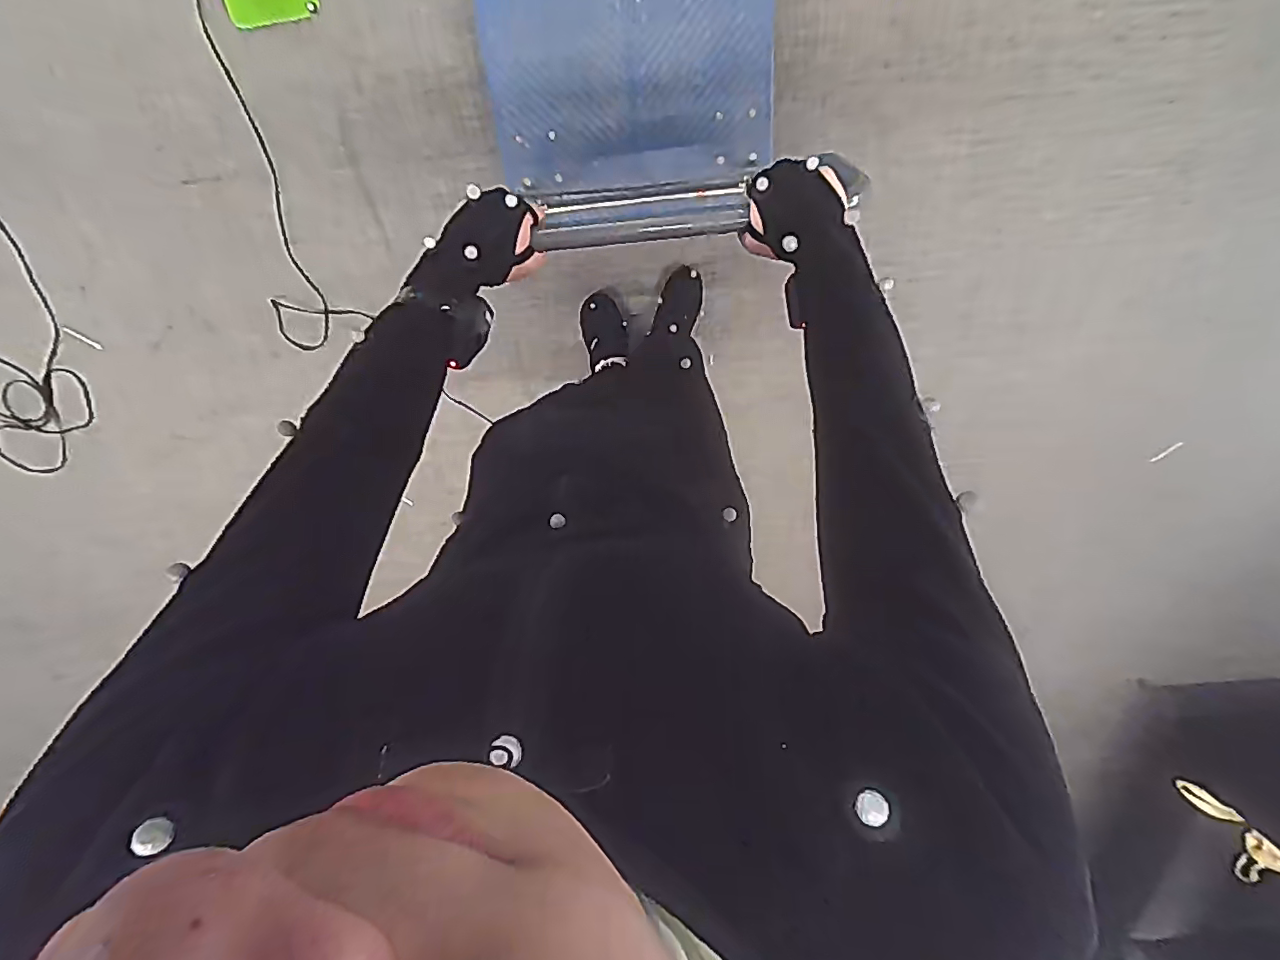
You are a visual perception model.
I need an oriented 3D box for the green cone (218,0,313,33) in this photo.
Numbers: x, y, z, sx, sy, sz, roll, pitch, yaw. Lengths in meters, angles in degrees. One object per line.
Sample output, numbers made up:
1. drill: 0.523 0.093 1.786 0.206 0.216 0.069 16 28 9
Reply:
1. green cone: -0.811 -0.997 0.974 0.202 0.368 0.200 -8 116 5
